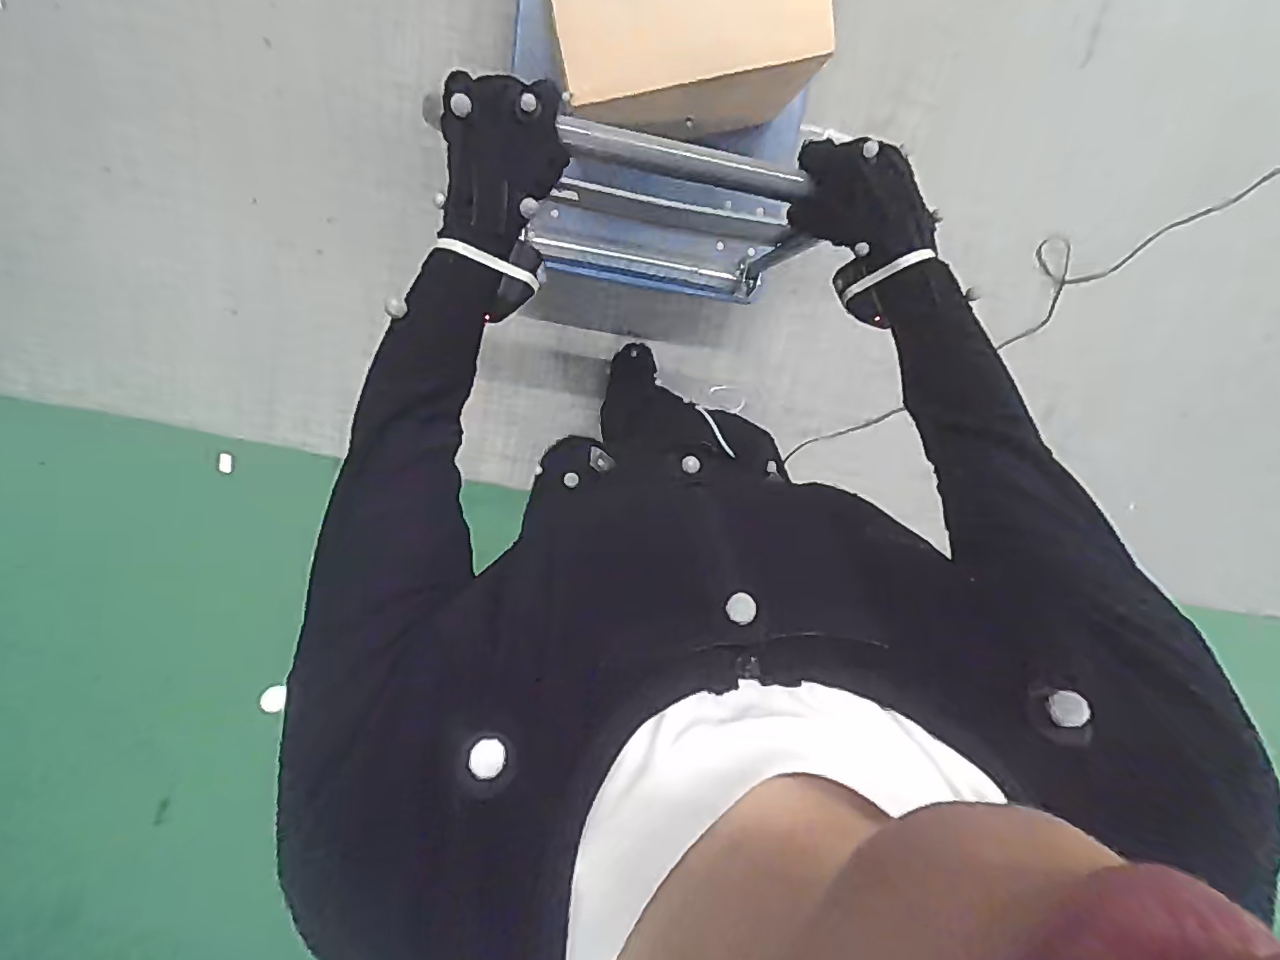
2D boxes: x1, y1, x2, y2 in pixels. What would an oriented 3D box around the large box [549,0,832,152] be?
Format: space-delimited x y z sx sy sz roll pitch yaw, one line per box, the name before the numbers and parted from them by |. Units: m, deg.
large box | 0.056 -0.795 0.902 0.408 0.320 0.320 -12 107 0
